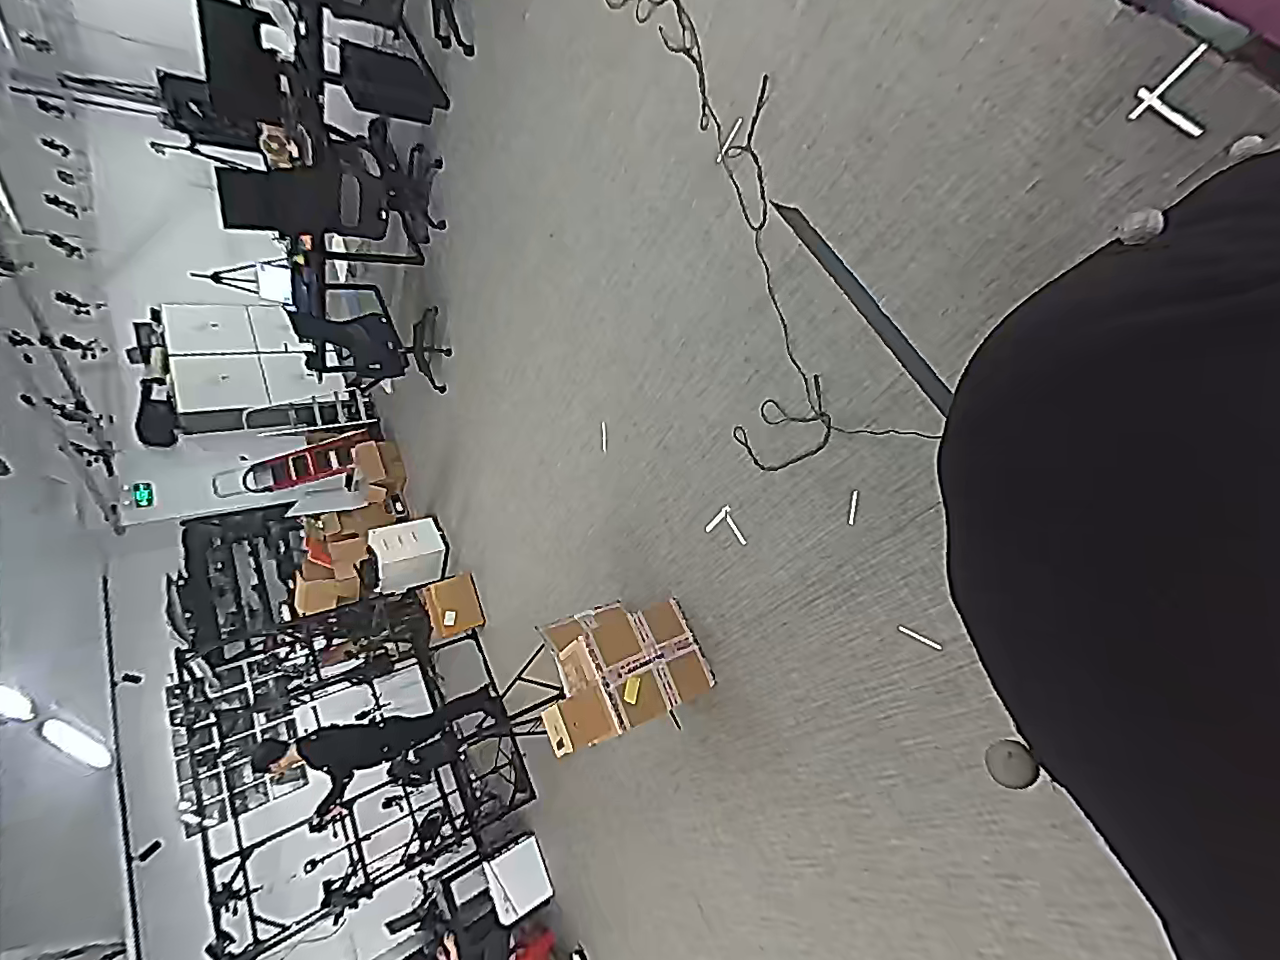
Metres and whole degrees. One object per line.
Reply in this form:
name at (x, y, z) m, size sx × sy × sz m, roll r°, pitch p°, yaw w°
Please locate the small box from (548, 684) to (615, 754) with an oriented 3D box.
small box at (-0.219, 0.904, 2.048) m, size 0.168 × 0.176 × 0.179 m, roll -47°, pitch 62°, yaw 46°
